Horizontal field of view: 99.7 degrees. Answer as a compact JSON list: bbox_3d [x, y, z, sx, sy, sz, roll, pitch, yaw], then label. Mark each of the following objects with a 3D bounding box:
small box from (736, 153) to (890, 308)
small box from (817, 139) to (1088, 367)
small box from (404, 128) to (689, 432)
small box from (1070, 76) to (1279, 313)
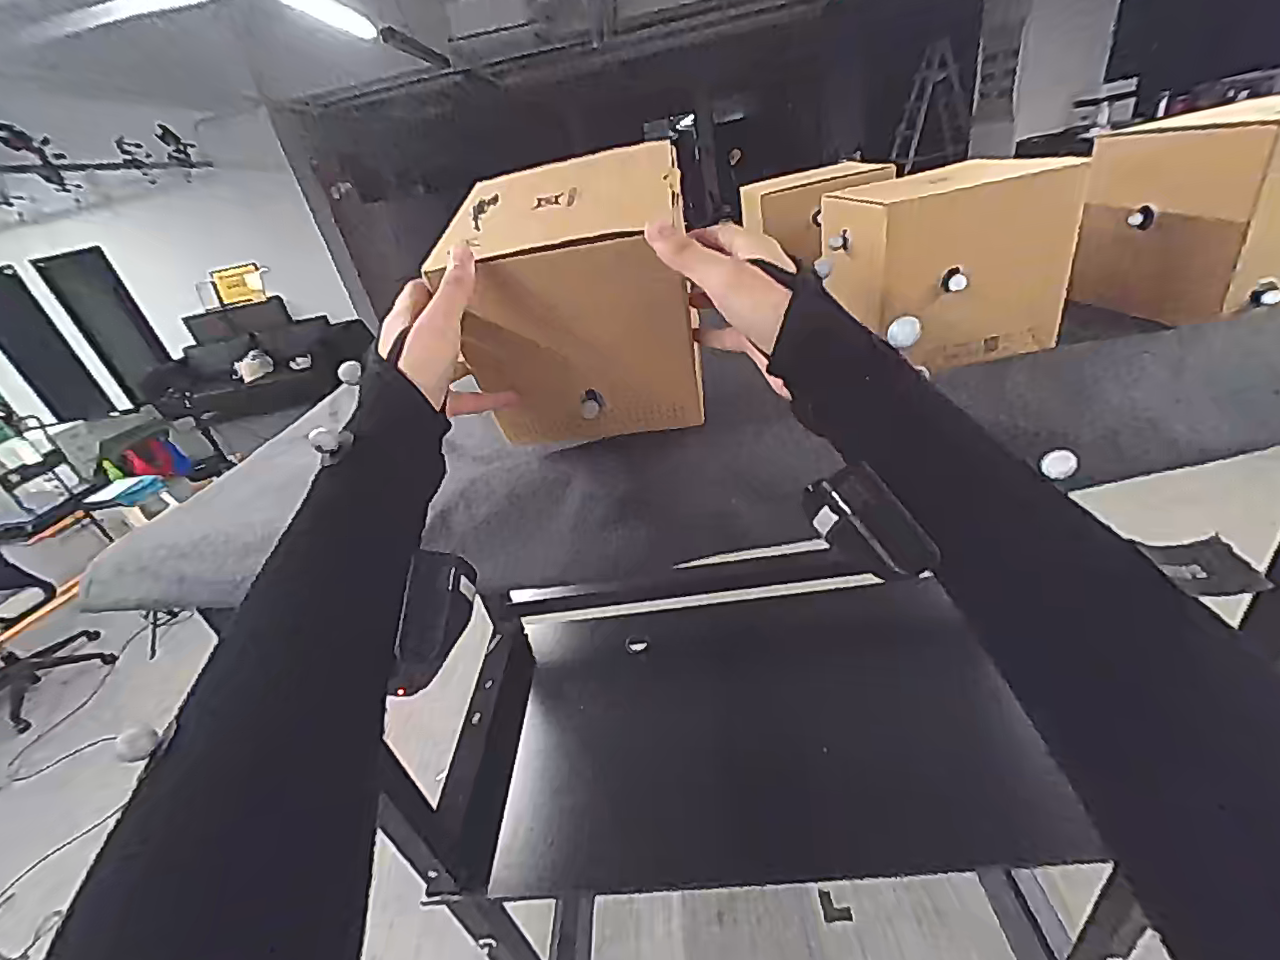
[{"bbox_3d":[0.246,-0.362,0.790,0.179,0.176,0.168,-9,31,6],"label":"small box"},{"bbox_3d":[0.288,-0.222,0.541,0.168,0.176,0.179,-11,29,4],"label":"small box"},{"bbox_3d":[-0.051,-0.158,0.448,0.179,0.176,0.168,-5,46,9],"label":"small box"},{"bbox_3d":[0.558,-0.266,0.506,0.168,0.176,0.179,-12,29,1],"label":"small box"}]
